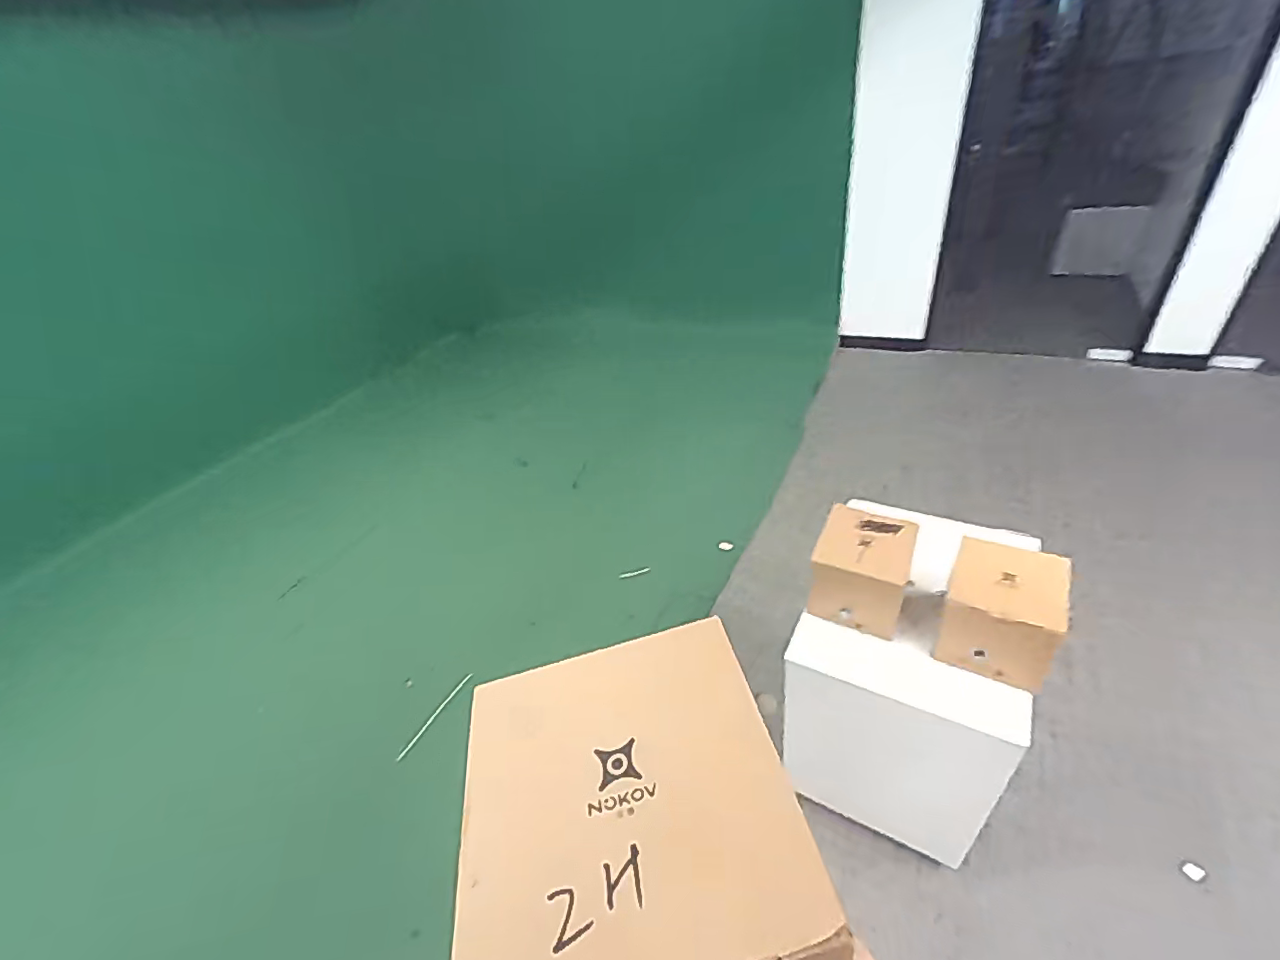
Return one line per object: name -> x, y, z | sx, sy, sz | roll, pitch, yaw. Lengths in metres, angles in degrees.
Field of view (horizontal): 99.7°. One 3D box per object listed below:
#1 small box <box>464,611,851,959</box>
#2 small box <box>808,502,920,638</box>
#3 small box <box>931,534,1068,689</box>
small box -> 0.009, 0.217, 0.331 | 0.168, 0.176, 0.179 | -15, 34, -2
small box -> 0.439, 0.177, 1.077 | 0.168, 0.176, 0.179 | 14, 45, 28
small box -> 0.633, 0.230, 0.962 | 0.168, 0.176, 0.179 | 14, 44, 31
